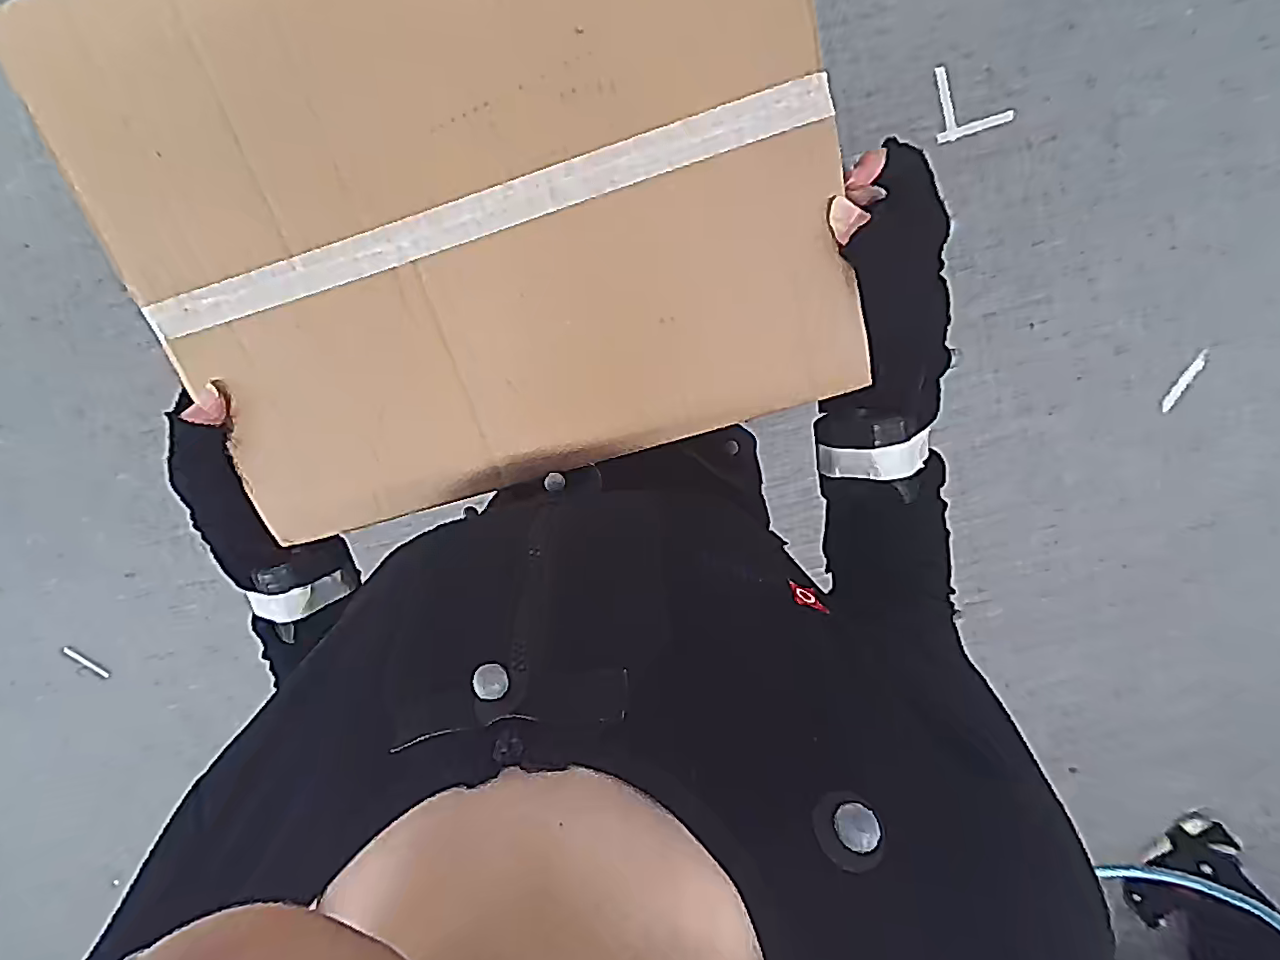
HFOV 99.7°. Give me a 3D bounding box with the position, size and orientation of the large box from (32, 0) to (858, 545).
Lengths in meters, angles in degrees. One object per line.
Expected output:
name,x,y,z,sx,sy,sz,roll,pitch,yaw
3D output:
large box,-0.090,-0.195,0.453,0.408,0.320,0.320,-15,109,7
